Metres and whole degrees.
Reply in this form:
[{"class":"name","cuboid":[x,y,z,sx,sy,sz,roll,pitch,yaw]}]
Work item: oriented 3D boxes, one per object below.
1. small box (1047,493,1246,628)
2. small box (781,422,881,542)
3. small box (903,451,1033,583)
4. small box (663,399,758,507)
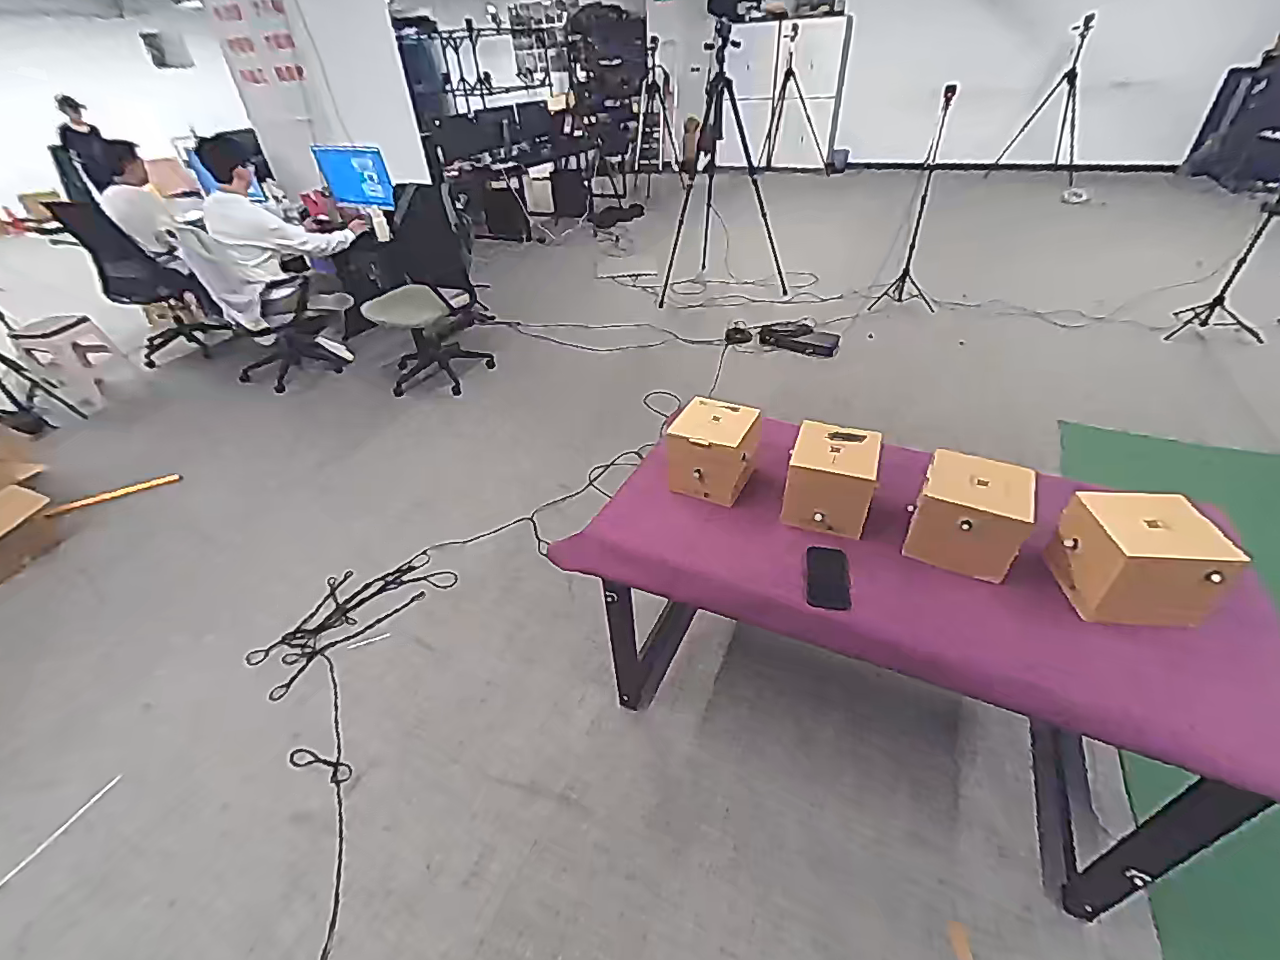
[{"class":"small box","cuboid":[0.857,0.140,0.946,0.179,0.176,0.168,2,37,7]},{"class":"small box","cuboid":[0.406,0.002,1.162,0.168,0.176,0.179,12,41,20]},{"class":"small box","cuboid":[0.632,0.072,1.054,0.179,0.176,0.168,18,43,25]},{"class":"small box","cuboid":[0.168,-0.063,1.267,0.168,0.176,0.179,16,43,24]}]
